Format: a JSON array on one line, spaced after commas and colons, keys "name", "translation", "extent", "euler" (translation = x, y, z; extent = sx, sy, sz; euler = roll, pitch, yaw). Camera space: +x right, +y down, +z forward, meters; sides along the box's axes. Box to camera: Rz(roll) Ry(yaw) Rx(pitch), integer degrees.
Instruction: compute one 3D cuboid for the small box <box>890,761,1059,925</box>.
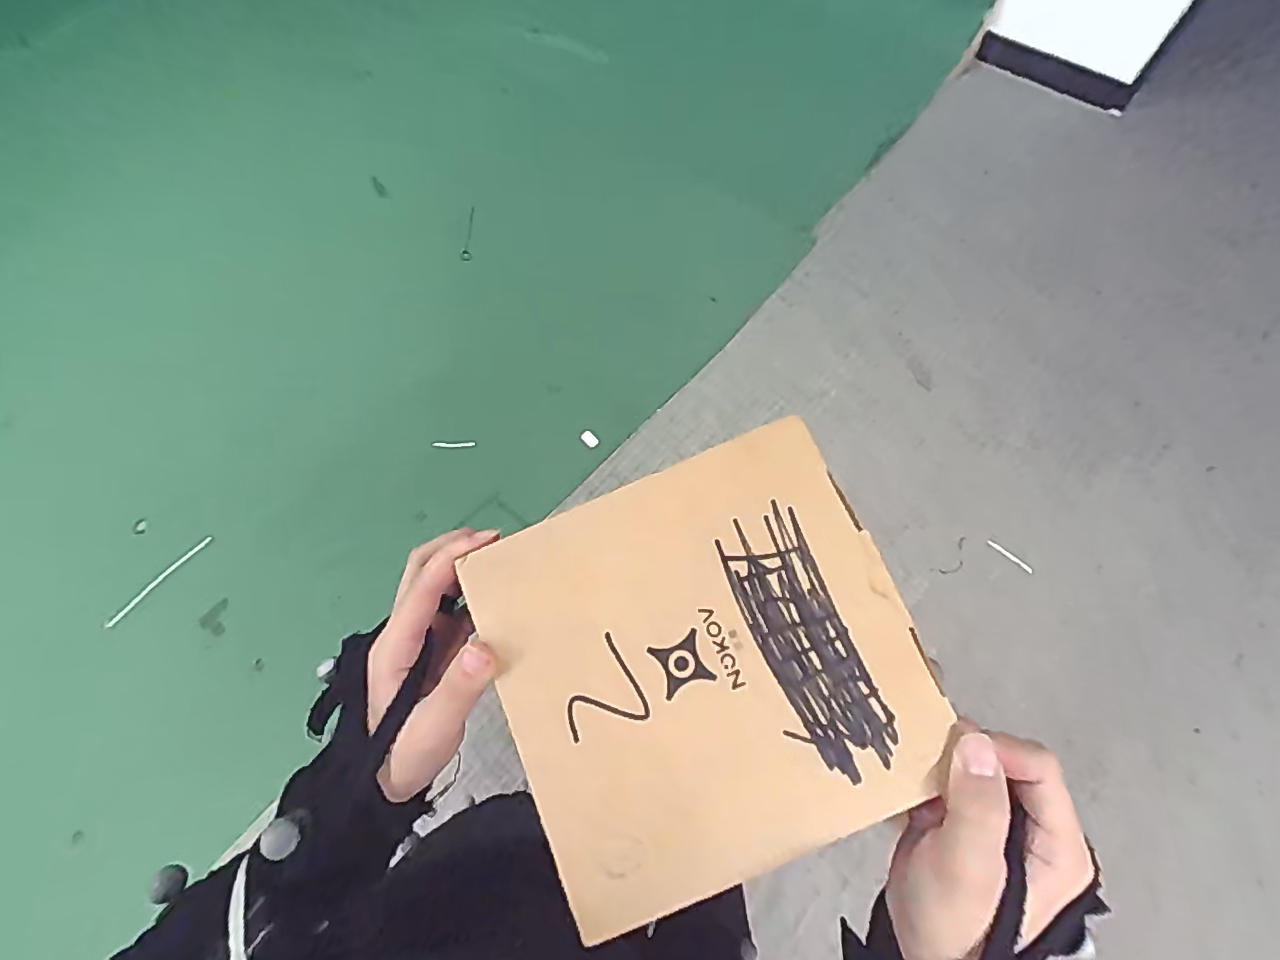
[{"name": "small box", "translation": [0.596, 0.644, 0.990], "extent": [0.179, 0.176, 0.168], "euler": [38, 77, 16]}]
